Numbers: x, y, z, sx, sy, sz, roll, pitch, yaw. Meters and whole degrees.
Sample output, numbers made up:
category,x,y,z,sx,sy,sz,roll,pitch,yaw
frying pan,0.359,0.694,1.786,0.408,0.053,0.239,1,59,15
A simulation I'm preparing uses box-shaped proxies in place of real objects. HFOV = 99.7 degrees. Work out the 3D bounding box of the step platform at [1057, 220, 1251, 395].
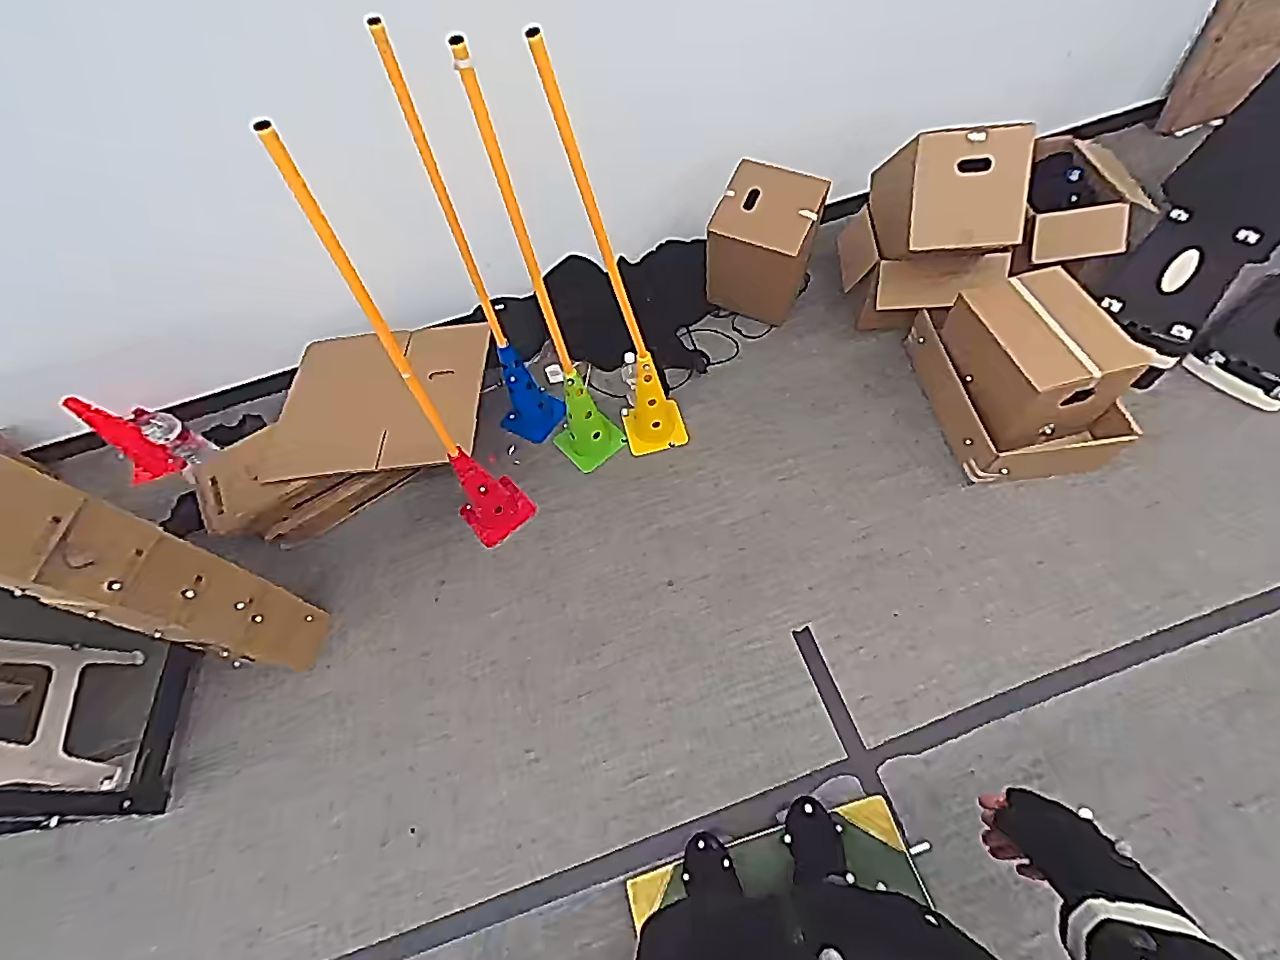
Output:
category,x,y,z,sx,sy,sz,roll,pitch,yaw
step platform,1.738,-0.600,1.831,0.286,0.204,0.684,38,71,25
